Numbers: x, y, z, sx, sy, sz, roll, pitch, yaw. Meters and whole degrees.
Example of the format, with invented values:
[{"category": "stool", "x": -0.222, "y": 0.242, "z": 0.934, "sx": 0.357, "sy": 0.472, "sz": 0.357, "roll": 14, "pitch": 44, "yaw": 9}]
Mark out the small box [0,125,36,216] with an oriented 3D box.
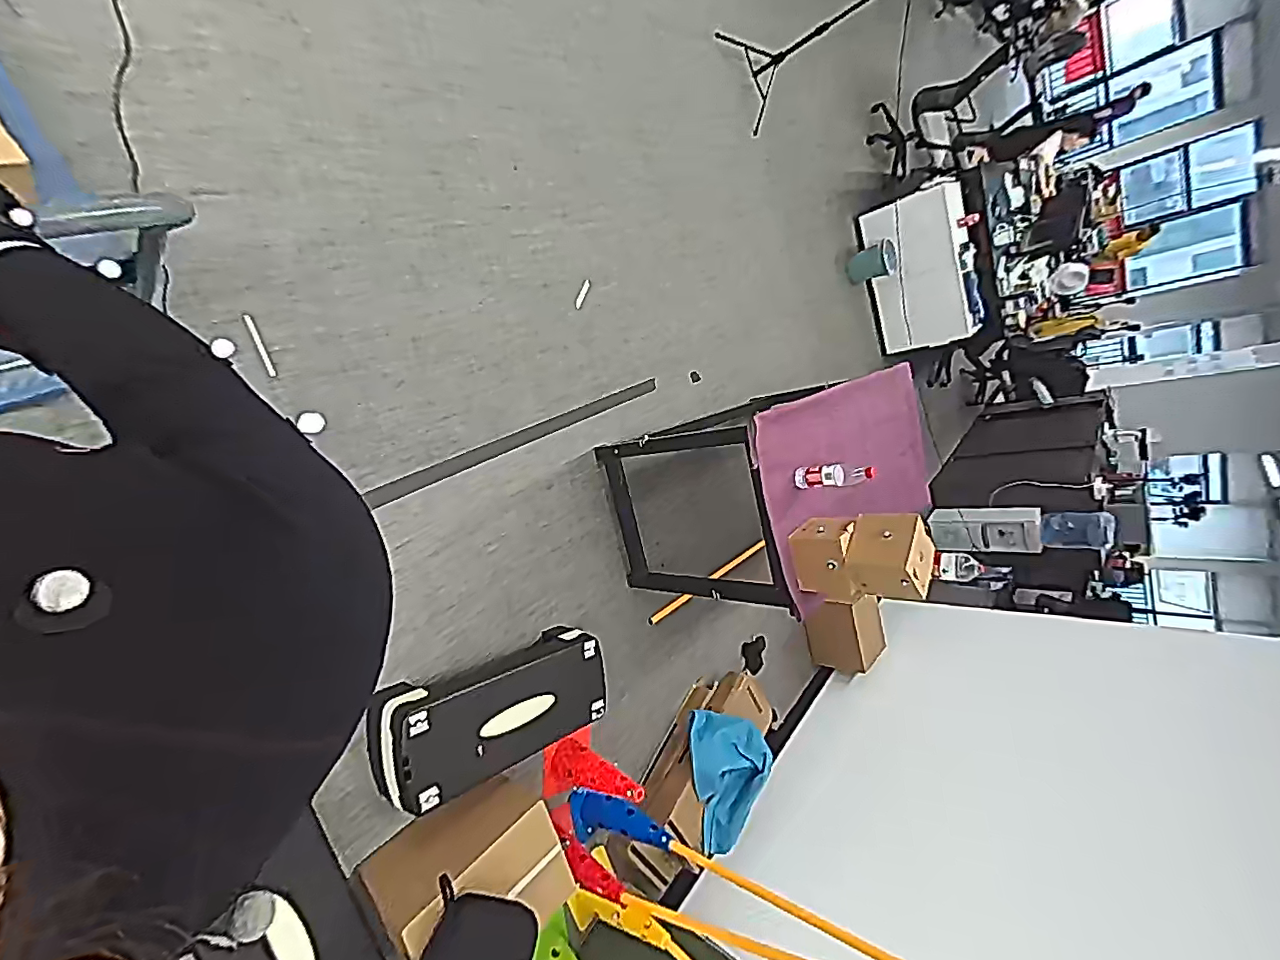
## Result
[{"category": "small box", "x": -1.062, "y": -0.495, "z": 0.797, "sx": 0.179, "sy": 0.176, "sz": 0.168, "roll": -41, "pitch": 115, "yaw": -38}]
